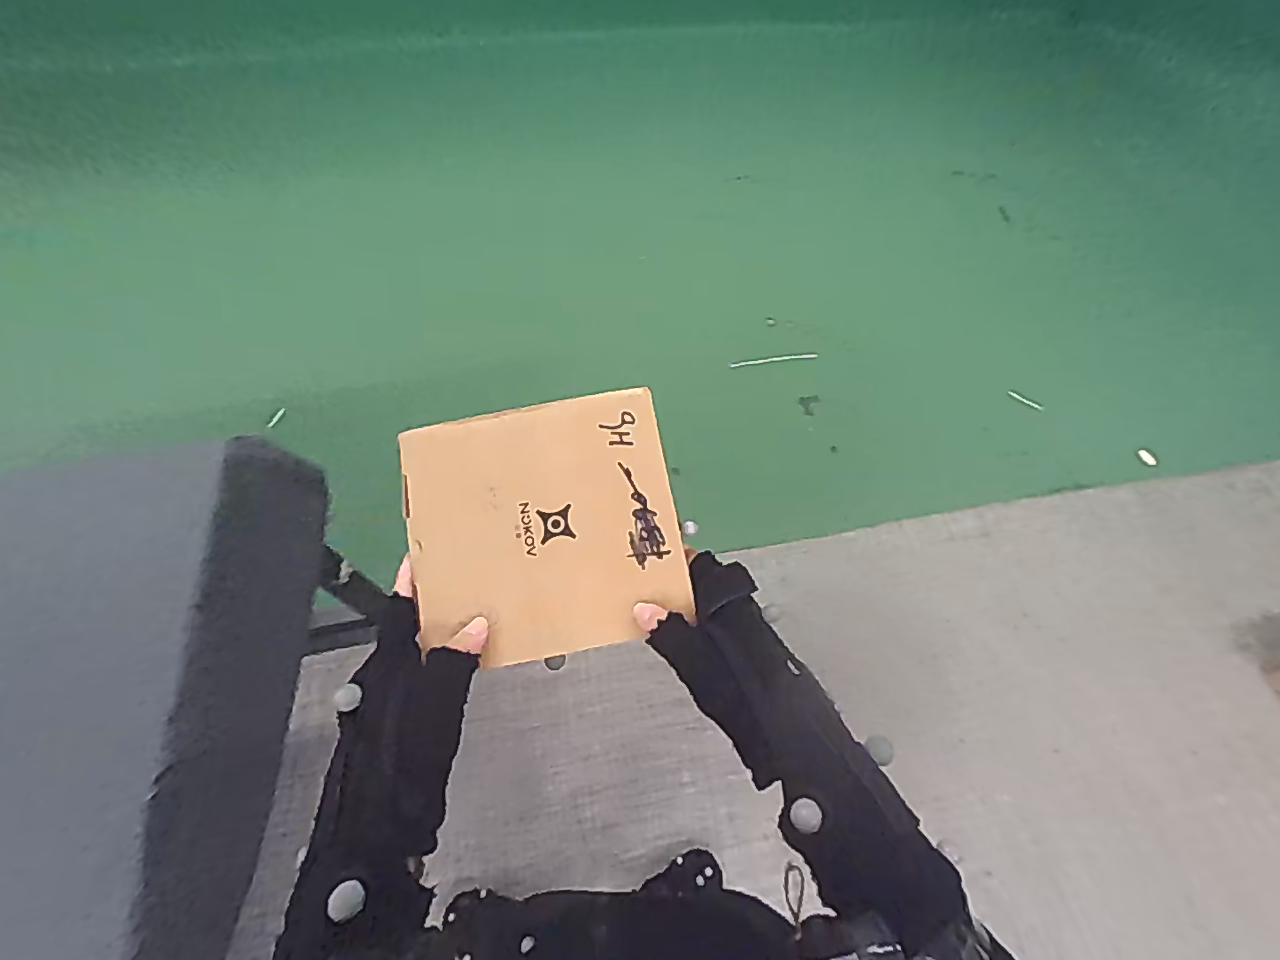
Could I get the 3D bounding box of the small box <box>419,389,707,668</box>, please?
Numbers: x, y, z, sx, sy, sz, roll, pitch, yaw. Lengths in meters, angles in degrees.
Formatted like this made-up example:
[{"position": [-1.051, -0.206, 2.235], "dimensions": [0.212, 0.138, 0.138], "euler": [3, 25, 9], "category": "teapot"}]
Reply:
[{"position": [-0.055, 0.049, 0.443], "dimensions": [0.179, 0.176, 0.168], "euler": [-12, 75, -3], "category": "small box"}]
